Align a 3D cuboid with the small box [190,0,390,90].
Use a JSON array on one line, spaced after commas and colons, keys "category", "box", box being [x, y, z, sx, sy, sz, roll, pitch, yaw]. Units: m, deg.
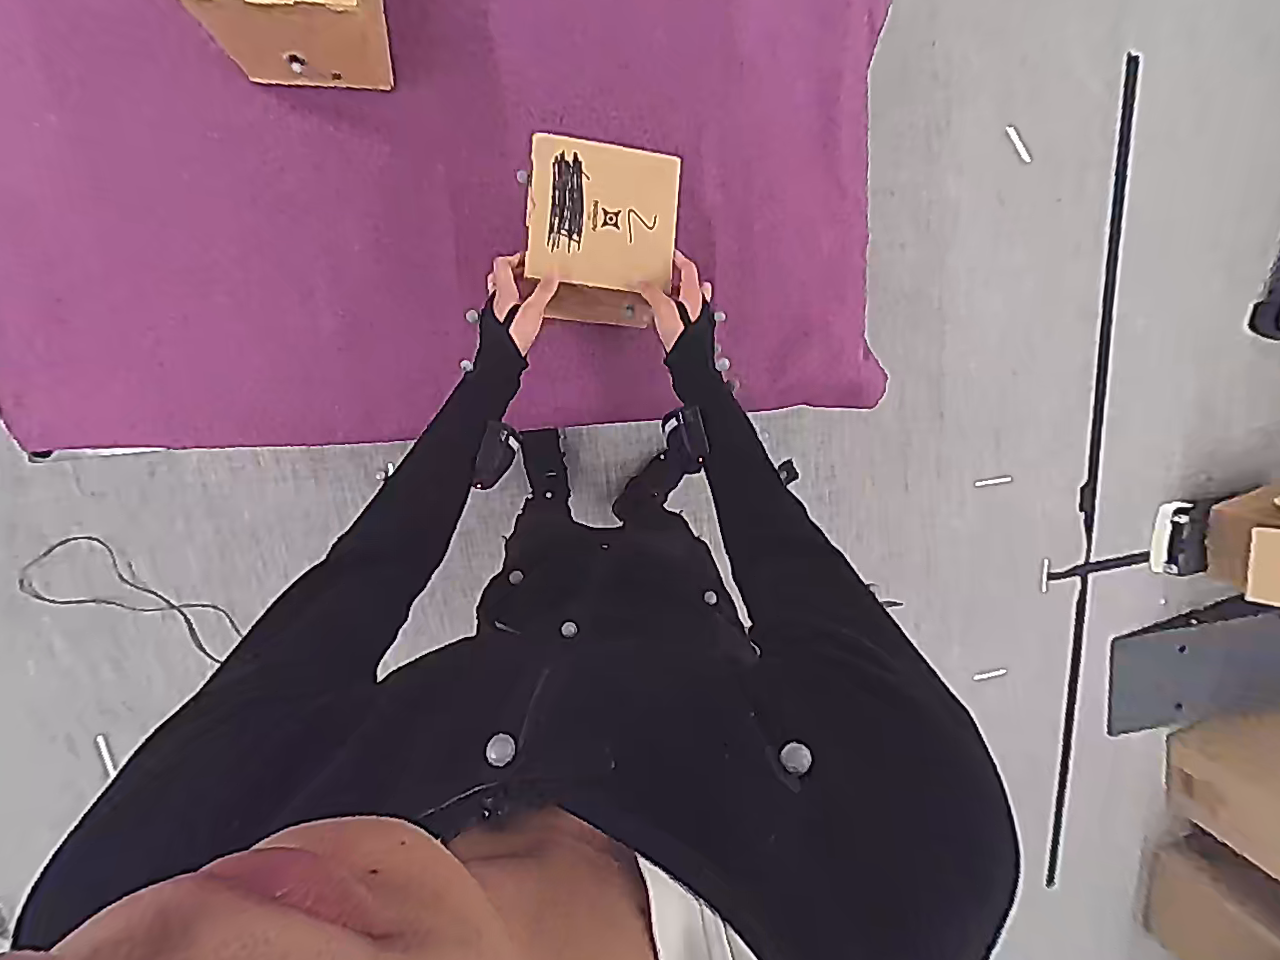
[{"category": "small box", "box": [-0.386, -0.568, 0.589, 0.168, 0.176, 0.179, -6, 103, -12]}]
